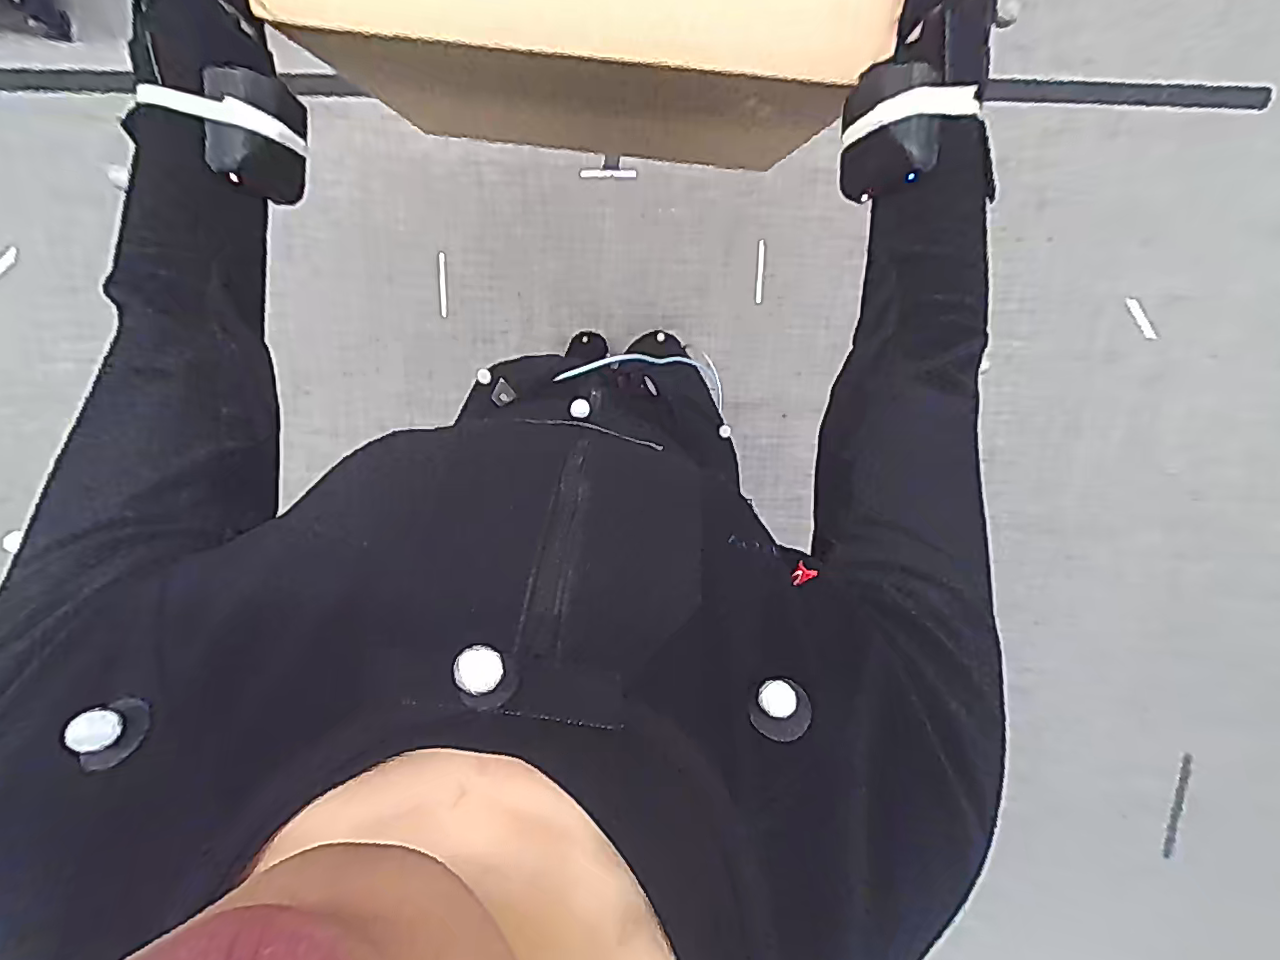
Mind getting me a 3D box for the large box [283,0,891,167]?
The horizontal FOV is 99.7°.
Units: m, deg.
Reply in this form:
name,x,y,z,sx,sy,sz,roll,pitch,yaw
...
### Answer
name,x,y,z,sx,sy,sz,roll,pitch,yaw
large box,-0.029,-0.477,0.450,0.408,0.320,0.320,4,111,-3
